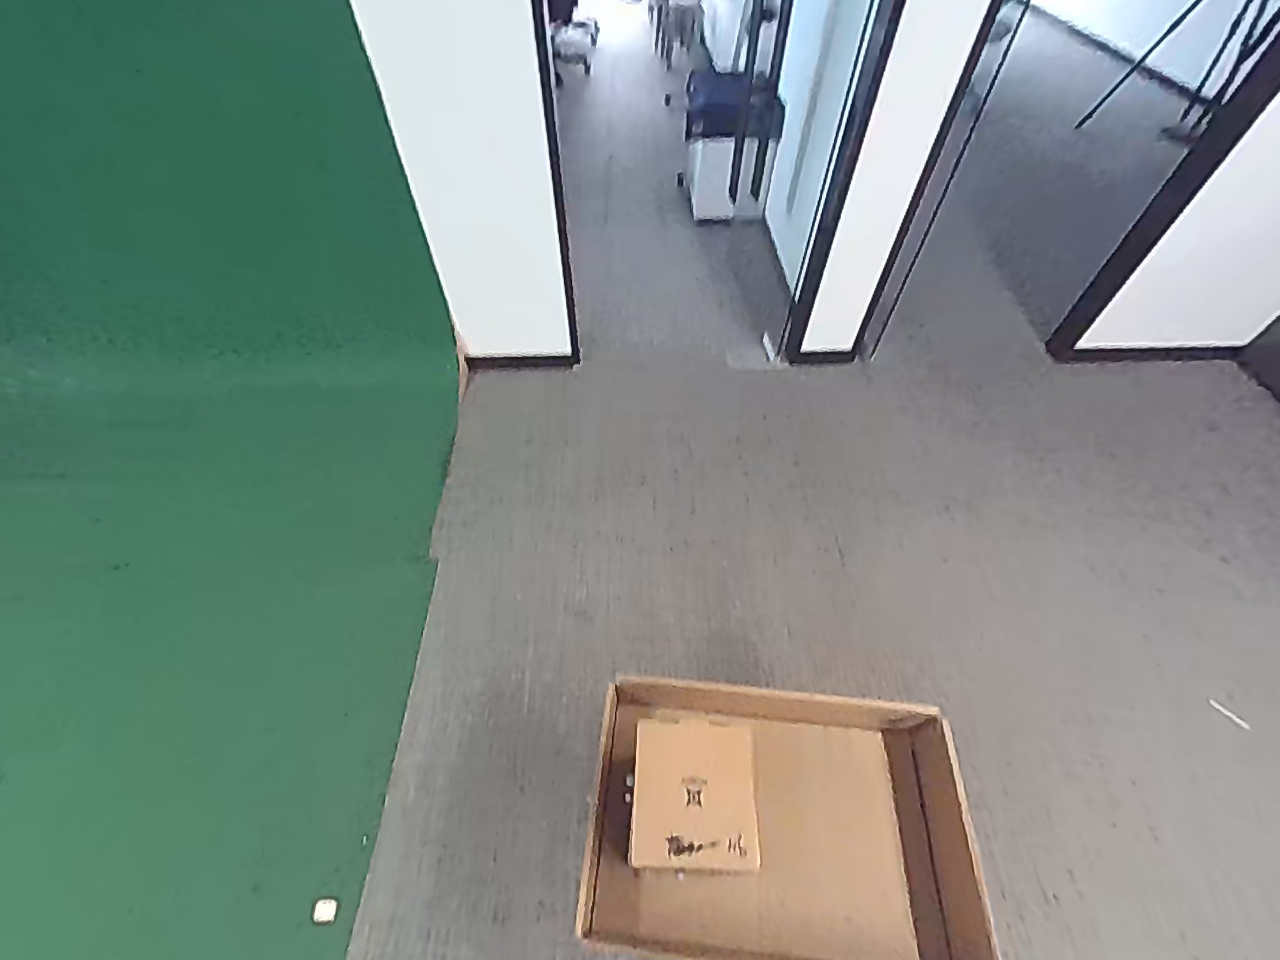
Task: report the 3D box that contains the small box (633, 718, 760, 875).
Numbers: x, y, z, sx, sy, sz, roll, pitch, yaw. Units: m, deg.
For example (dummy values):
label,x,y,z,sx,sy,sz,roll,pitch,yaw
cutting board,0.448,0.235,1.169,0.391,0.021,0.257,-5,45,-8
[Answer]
label,x,y,z,sx,sy,sz,roll,pitch,yaw
small box,0.078,0.471,0.803,0.168,0.176,0.179,2,53,3
